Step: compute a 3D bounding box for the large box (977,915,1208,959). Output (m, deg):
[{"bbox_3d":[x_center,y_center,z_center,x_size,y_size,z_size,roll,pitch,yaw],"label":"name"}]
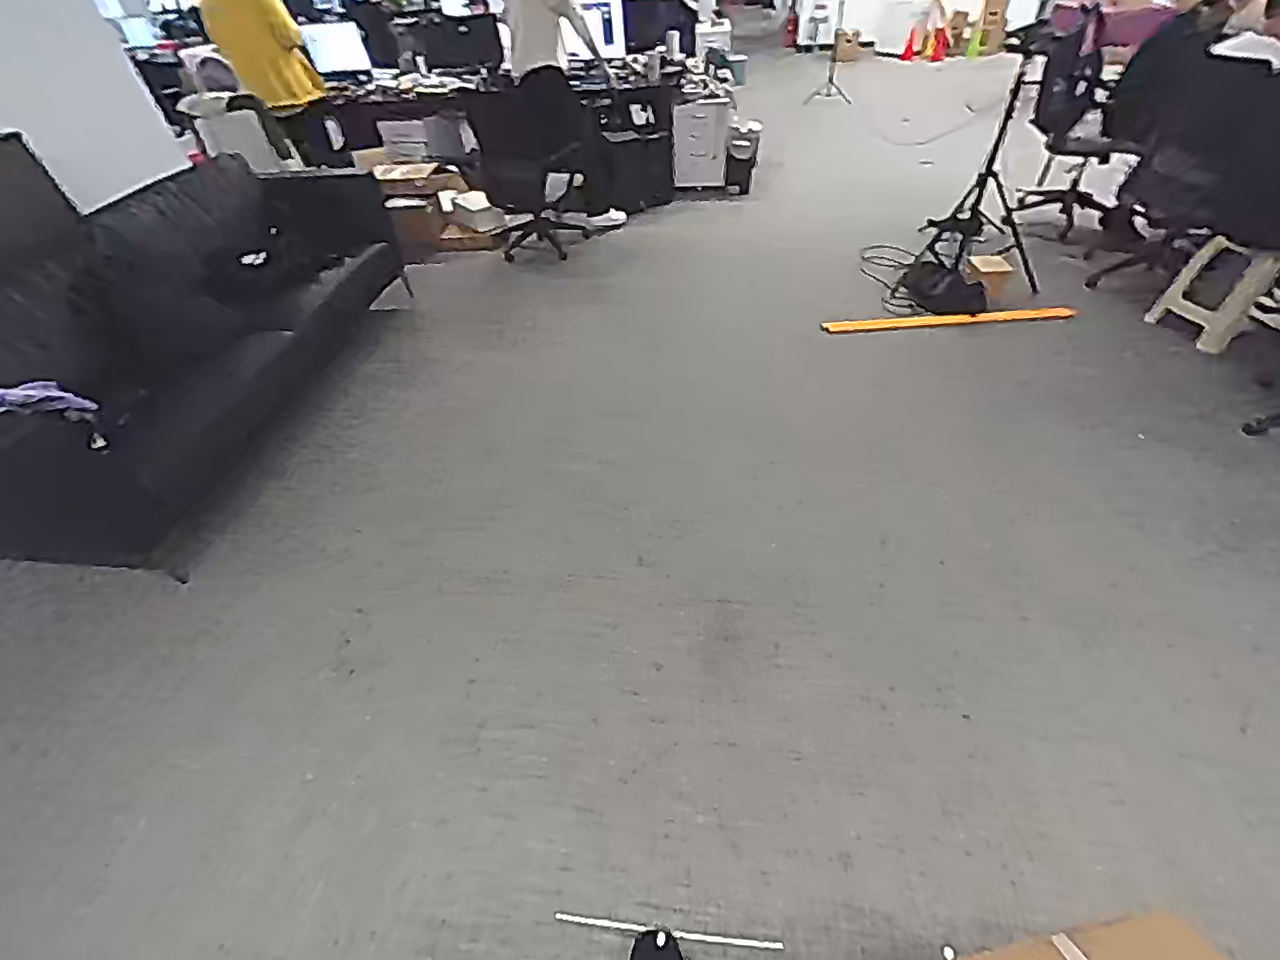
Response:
[{"bbox_3d":[0.608,0.783,0.553,0.320,0.408,0.320,-17,85,3],"label":"large box"}]
